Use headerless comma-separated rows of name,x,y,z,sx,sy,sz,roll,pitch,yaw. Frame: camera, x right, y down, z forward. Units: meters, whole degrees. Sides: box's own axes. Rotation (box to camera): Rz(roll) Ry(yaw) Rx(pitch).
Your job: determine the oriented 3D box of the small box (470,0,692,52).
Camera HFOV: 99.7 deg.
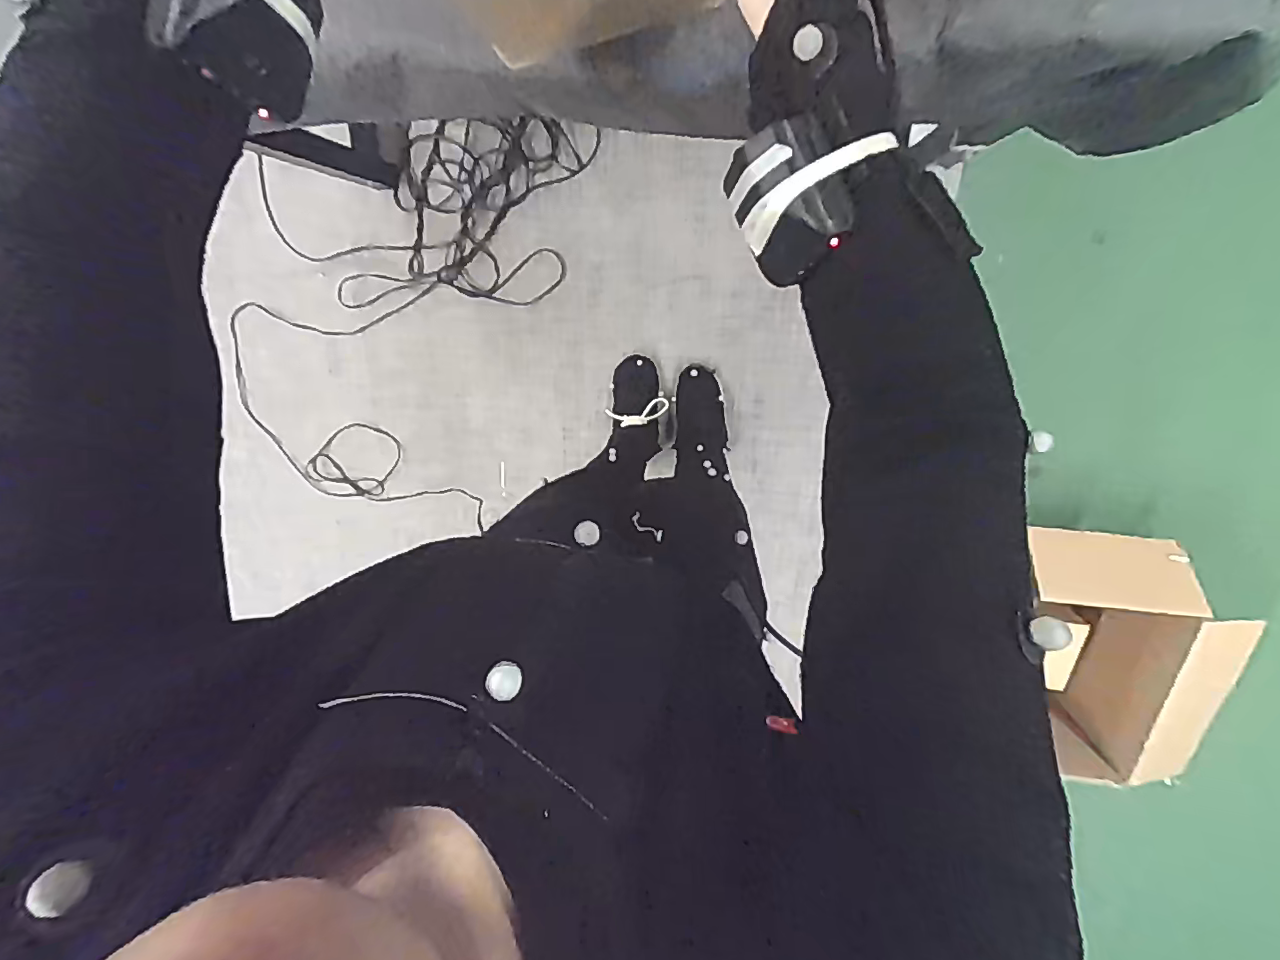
small box,-0.036,-0.386,0.306,0.179,0.176,0.168,-11,112,7
